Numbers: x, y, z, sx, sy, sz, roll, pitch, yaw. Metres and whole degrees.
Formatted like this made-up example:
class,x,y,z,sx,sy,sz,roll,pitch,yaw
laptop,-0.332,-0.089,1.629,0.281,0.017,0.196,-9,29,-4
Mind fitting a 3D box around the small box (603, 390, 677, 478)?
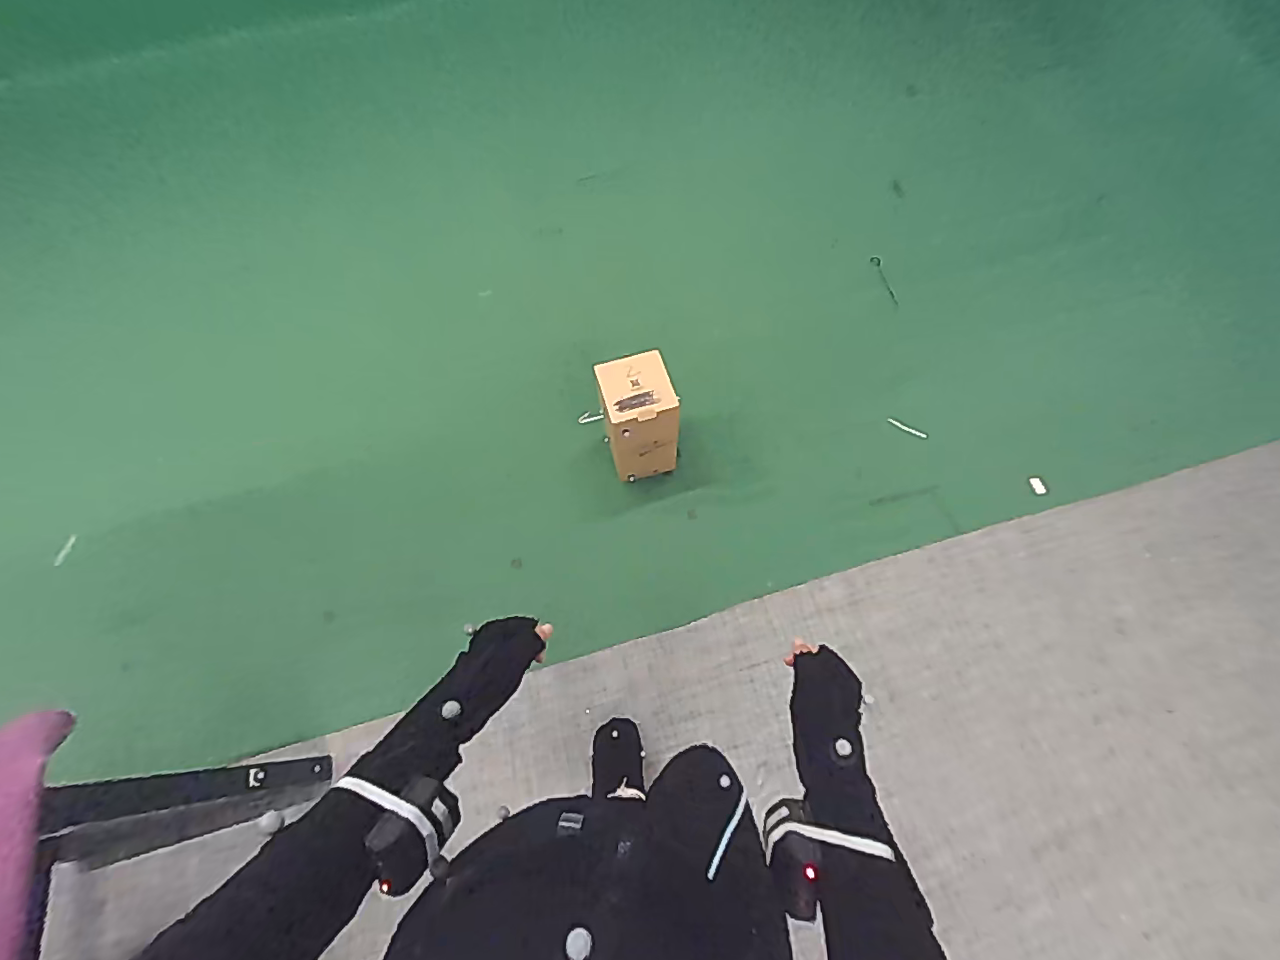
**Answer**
class,x,y,z,sx,sy,sz,roll,pitch,yaw
small box,0.002,-0.120,1.511,0.168,0.176,0.179,-15,65,-5
